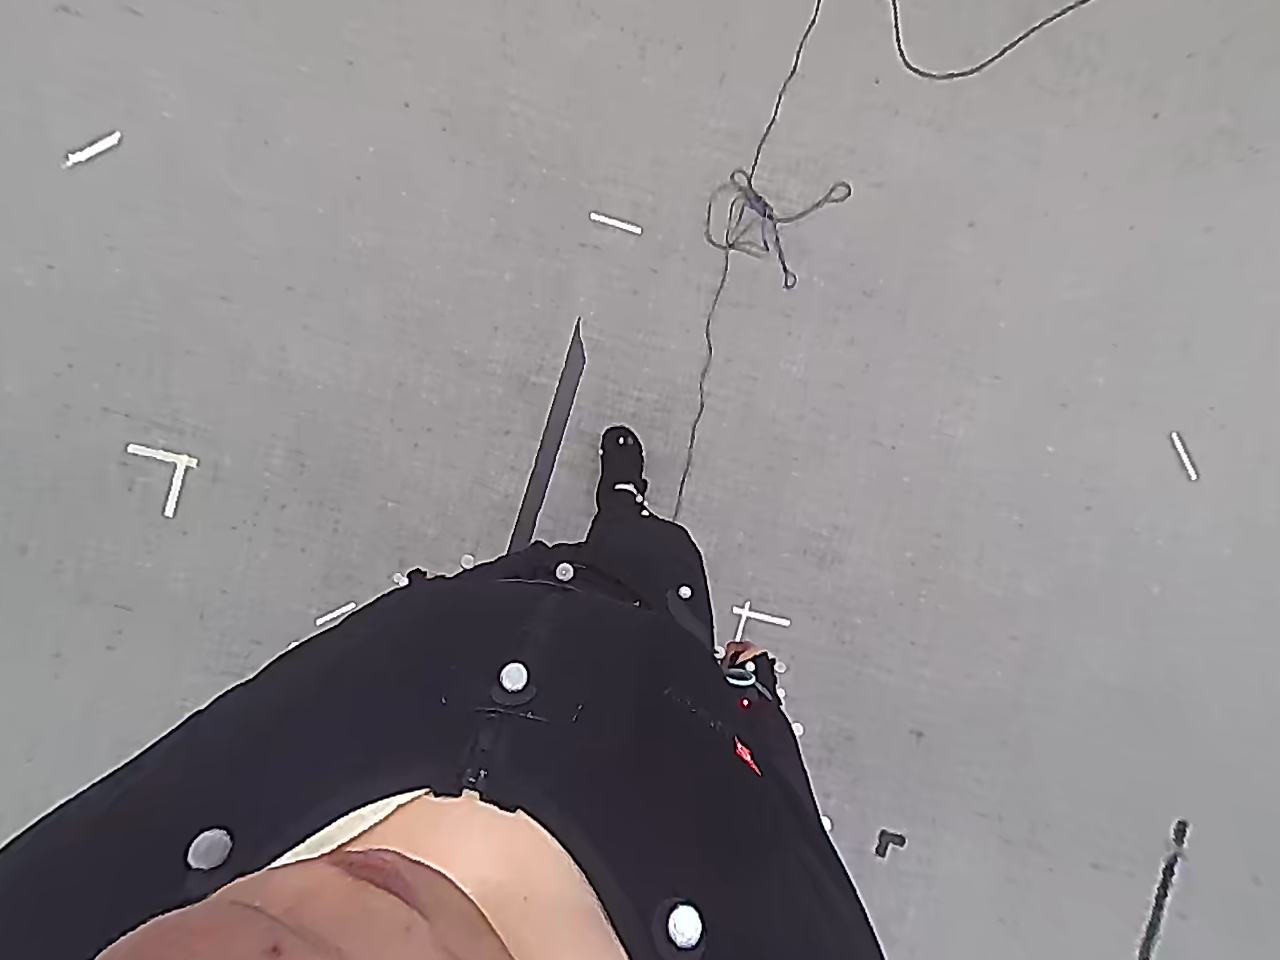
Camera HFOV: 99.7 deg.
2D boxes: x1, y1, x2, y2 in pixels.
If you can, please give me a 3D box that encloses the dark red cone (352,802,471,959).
[{"bbox_3d":[-0.515,0.889,1.143,0.201,0.394,0.202,16,88,-3],"label":"dark red cone"}]
